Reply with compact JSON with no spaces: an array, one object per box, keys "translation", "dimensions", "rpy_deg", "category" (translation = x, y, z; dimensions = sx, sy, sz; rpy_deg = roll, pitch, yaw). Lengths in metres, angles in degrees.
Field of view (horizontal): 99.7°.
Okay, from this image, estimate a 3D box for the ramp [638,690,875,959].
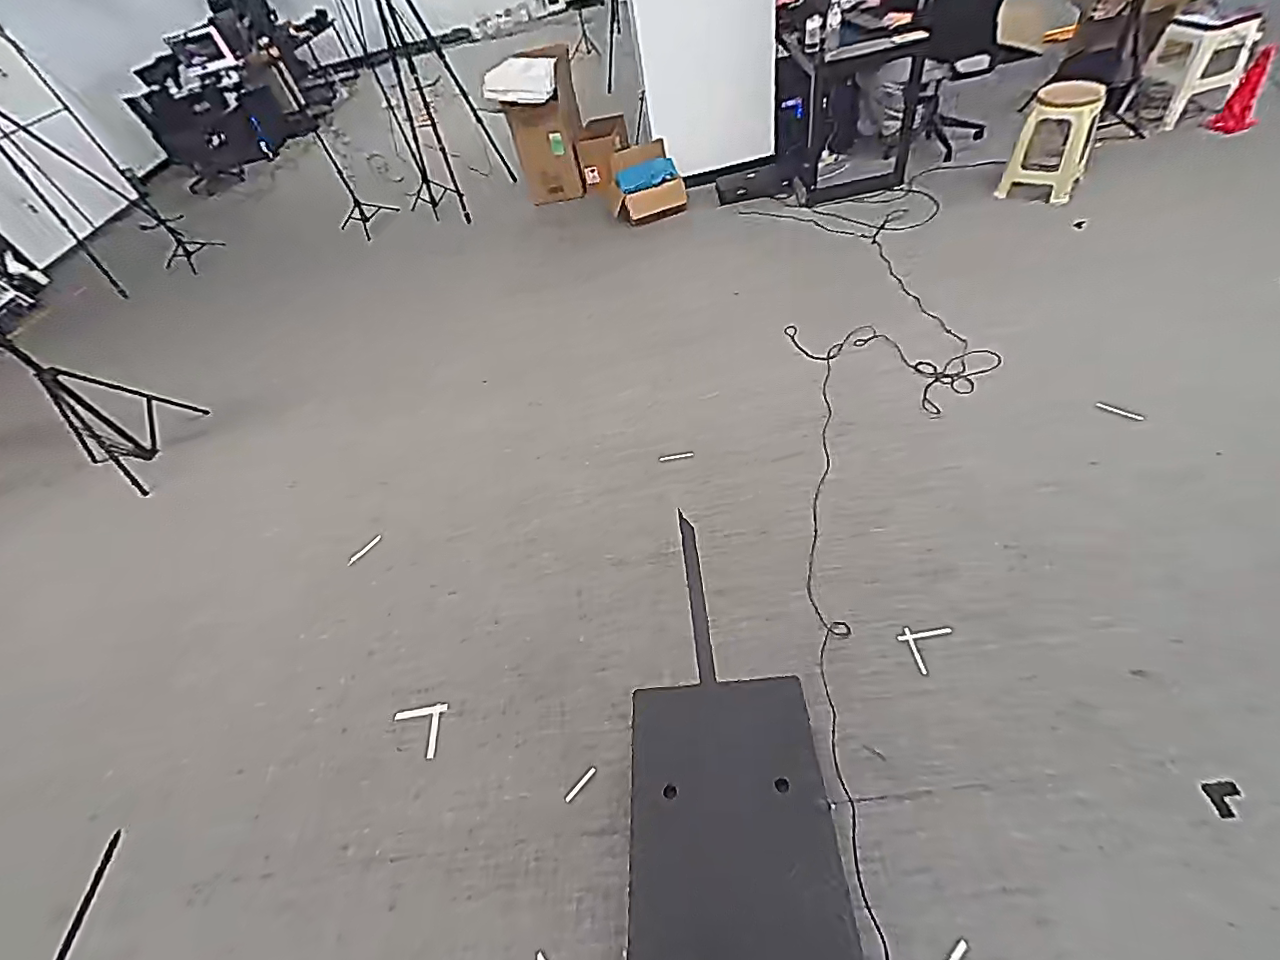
[{"translation":[0.235,0.952,1.198],"dimensions":[0.509,0.206,0.991],"rpy_deg":[-11,46,6],"category":"ramp"}]
